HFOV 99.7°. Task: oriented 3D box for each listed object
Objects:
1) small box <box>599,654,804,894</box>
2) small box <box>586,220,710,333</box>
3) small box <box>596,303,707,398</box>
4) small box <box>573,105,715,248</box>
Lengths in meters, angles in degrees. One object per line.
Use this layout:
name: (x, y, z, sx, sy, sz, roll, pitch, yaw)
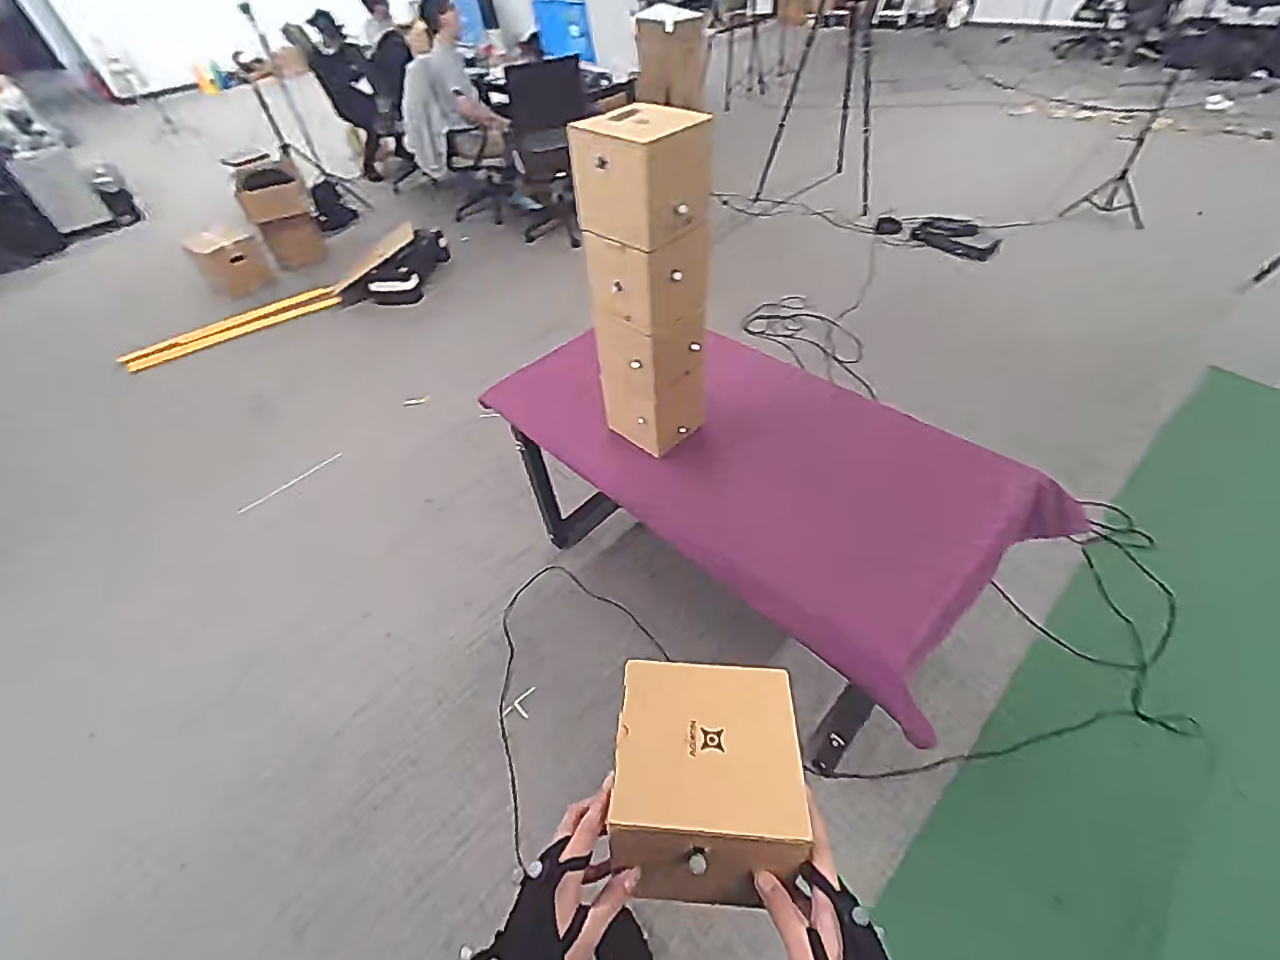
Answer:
small box: (0.060, 0.306, 0.568, 0.179, 0.176, 0.168, 1, 36, 5)
small box: (0.022, -0.415, 1.060, 0.168, 0.176, 0.179, 34, 59, 30)
small box: (0.030, -0.301, 1.176, 0.168, 0.176, 0.179, -38, 54, -26)
small box: (0.009, -0.524, 0.937, 0.179, 0.176, 0.168, 34, 58, 30)
